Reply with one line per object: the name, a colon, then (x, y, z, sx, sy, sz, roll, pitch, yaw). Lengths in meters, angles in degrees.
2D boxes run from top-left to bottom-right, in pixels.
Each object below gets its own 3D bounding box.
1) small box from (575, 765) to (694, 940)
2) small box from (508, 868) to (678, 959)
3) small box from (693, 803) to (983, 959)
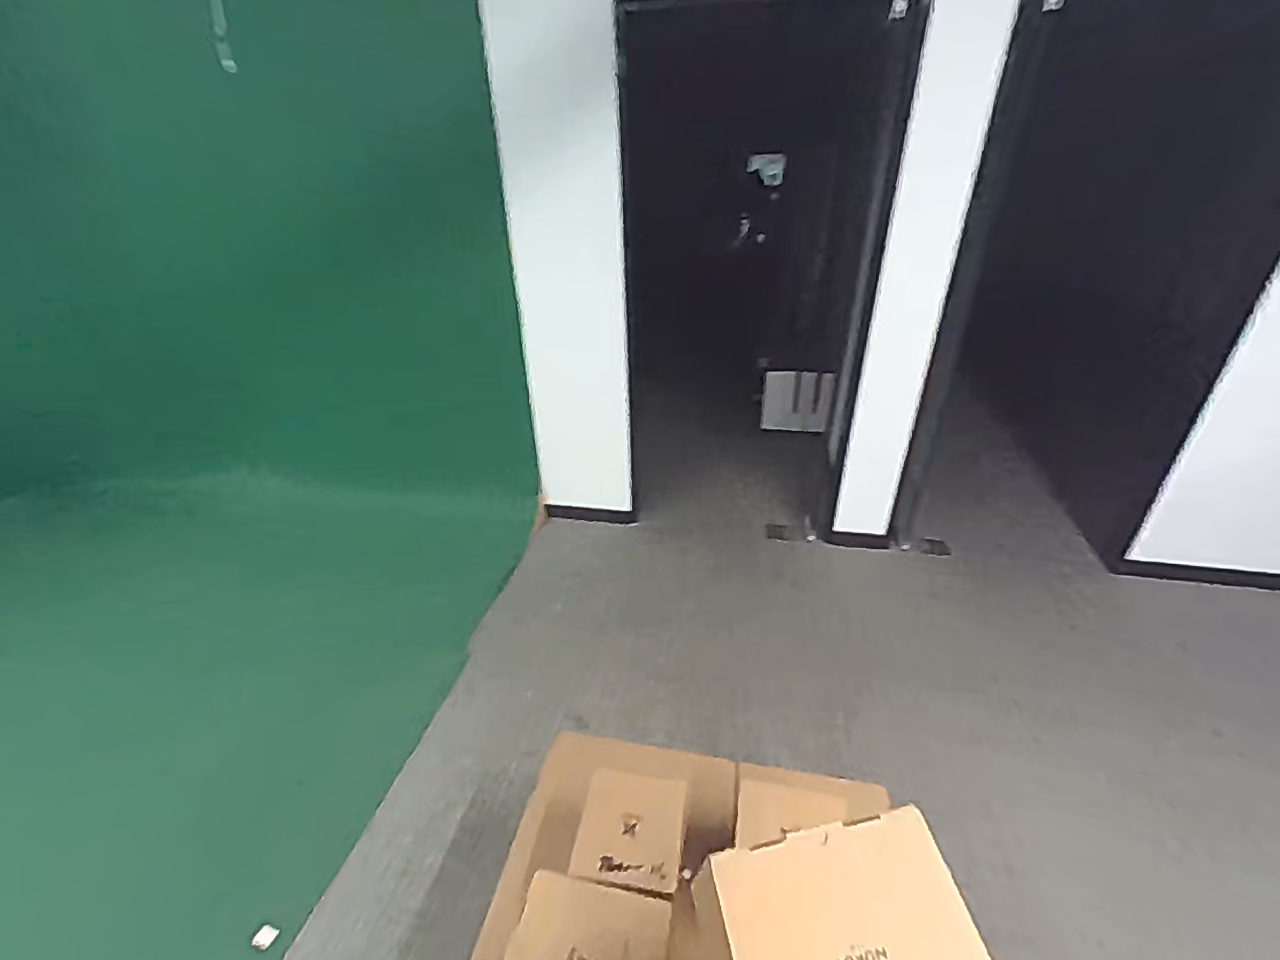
small box: (-0.001, 0.624, 0.912, 0.168, 0.176, 0.179, 2, 29, 11)
small box: (-0.055, 0.600, 0.628, 0.179, 0.176, 0.168, 5, 32, 13)
small box: (0.141, 0.370, 0.399, 0.168, 0.176, 0.179, -10, 48, -7)
